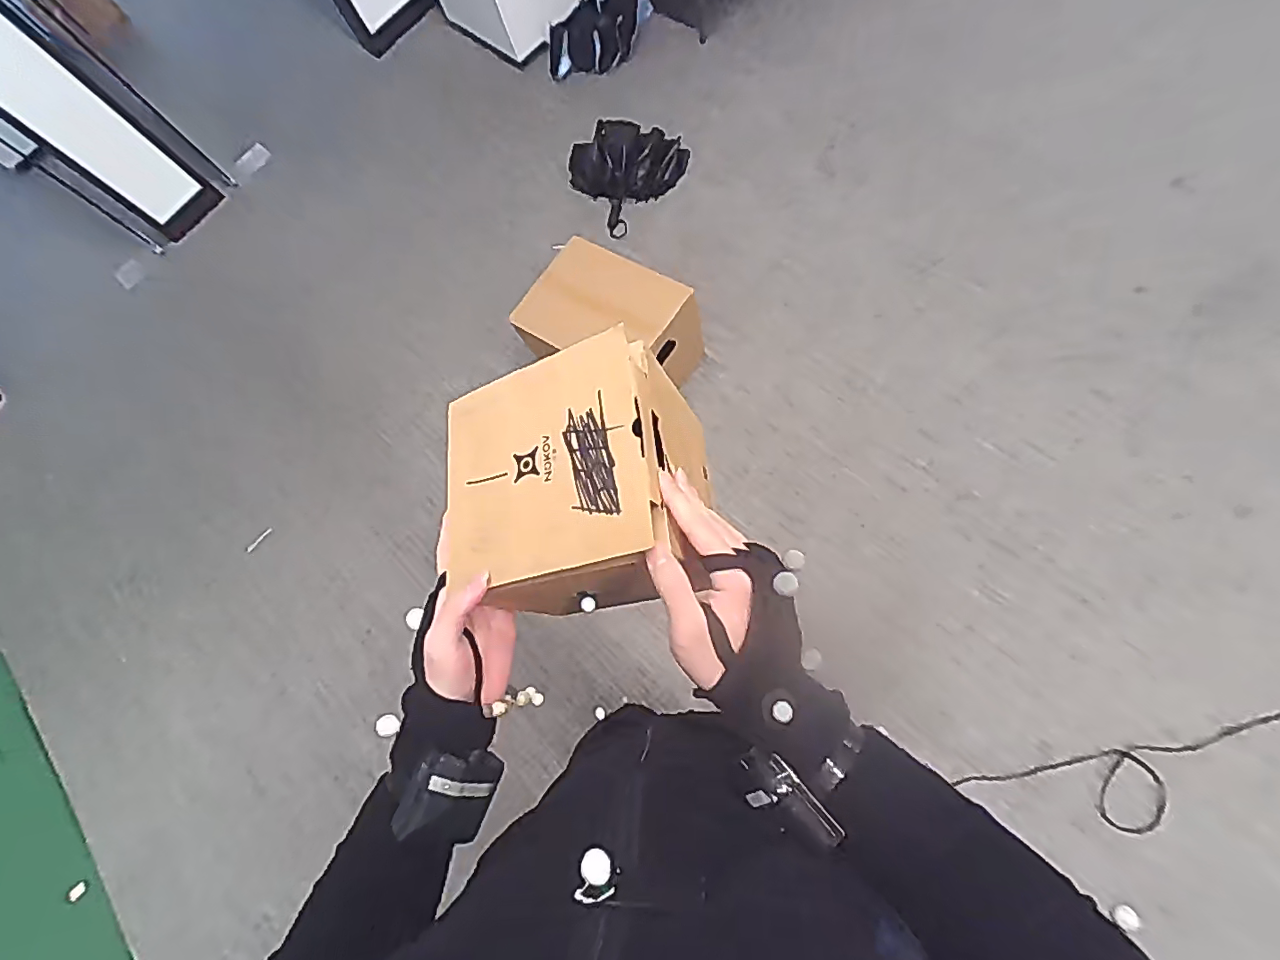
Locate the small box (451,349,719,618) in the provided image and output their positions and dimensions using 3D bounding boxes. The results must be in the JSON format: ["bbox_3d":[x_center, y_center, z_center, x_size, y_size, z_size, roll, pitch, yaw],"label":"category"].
[{"bbox_3d":[-0.038,0.020,0.468,0.179,0.176,0.168,-15,67,18],"label":"small box"}]
